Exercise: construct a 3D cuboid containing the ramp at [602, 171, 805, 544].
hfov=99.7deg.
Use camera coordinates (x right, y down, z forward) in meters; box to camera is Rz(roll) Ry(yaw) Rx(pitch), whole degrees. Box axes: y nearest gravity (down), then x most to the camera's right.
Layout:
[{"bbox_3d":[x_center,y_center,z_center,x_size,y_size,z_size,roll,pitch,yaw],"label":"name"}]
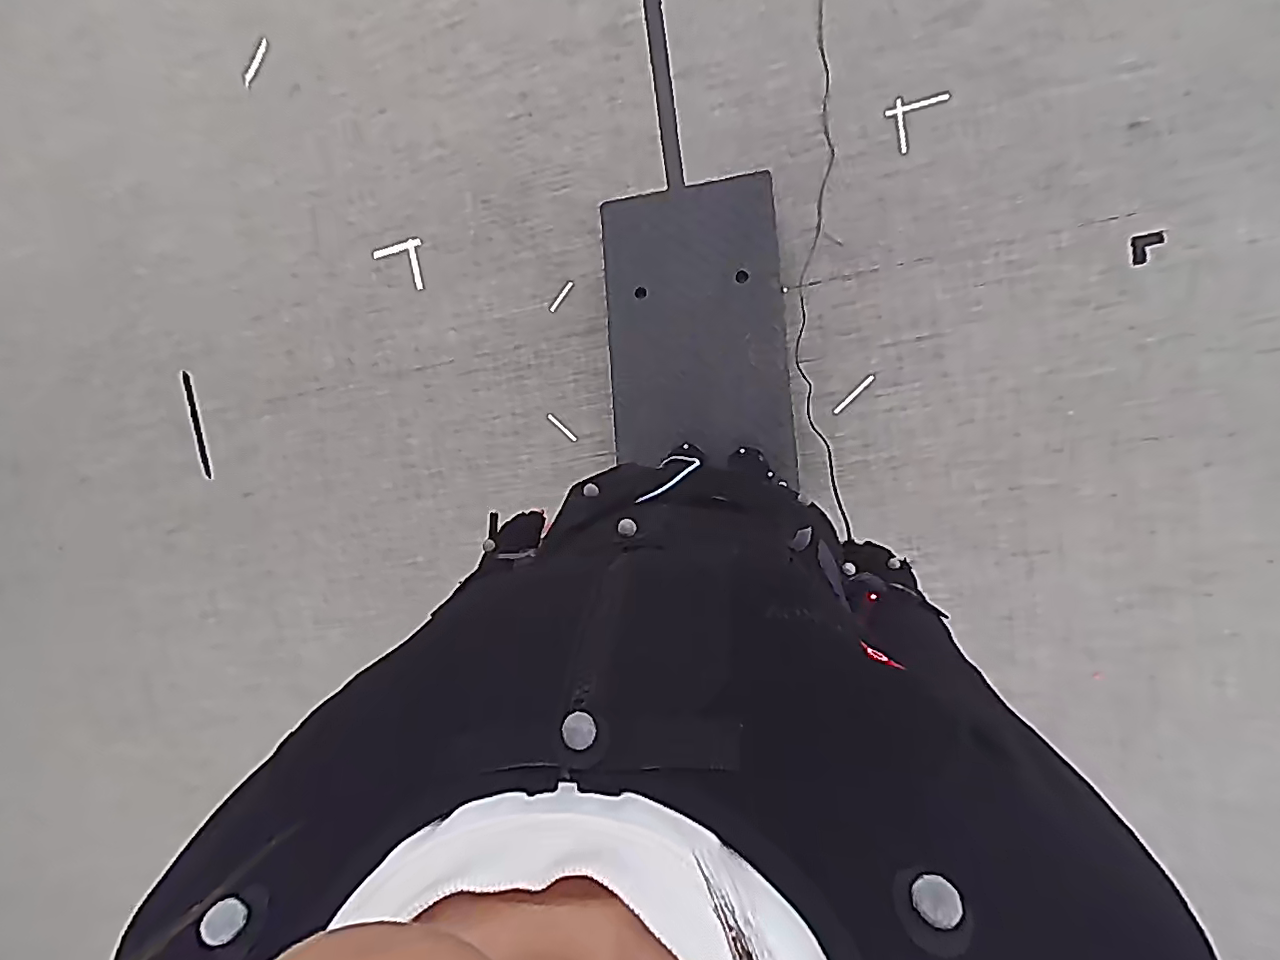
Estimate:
[{"bbox_3d":[0.156,-0.335,1.492,0.509,0.206,0.991,-7,94,14],"label":"ramp"}]
